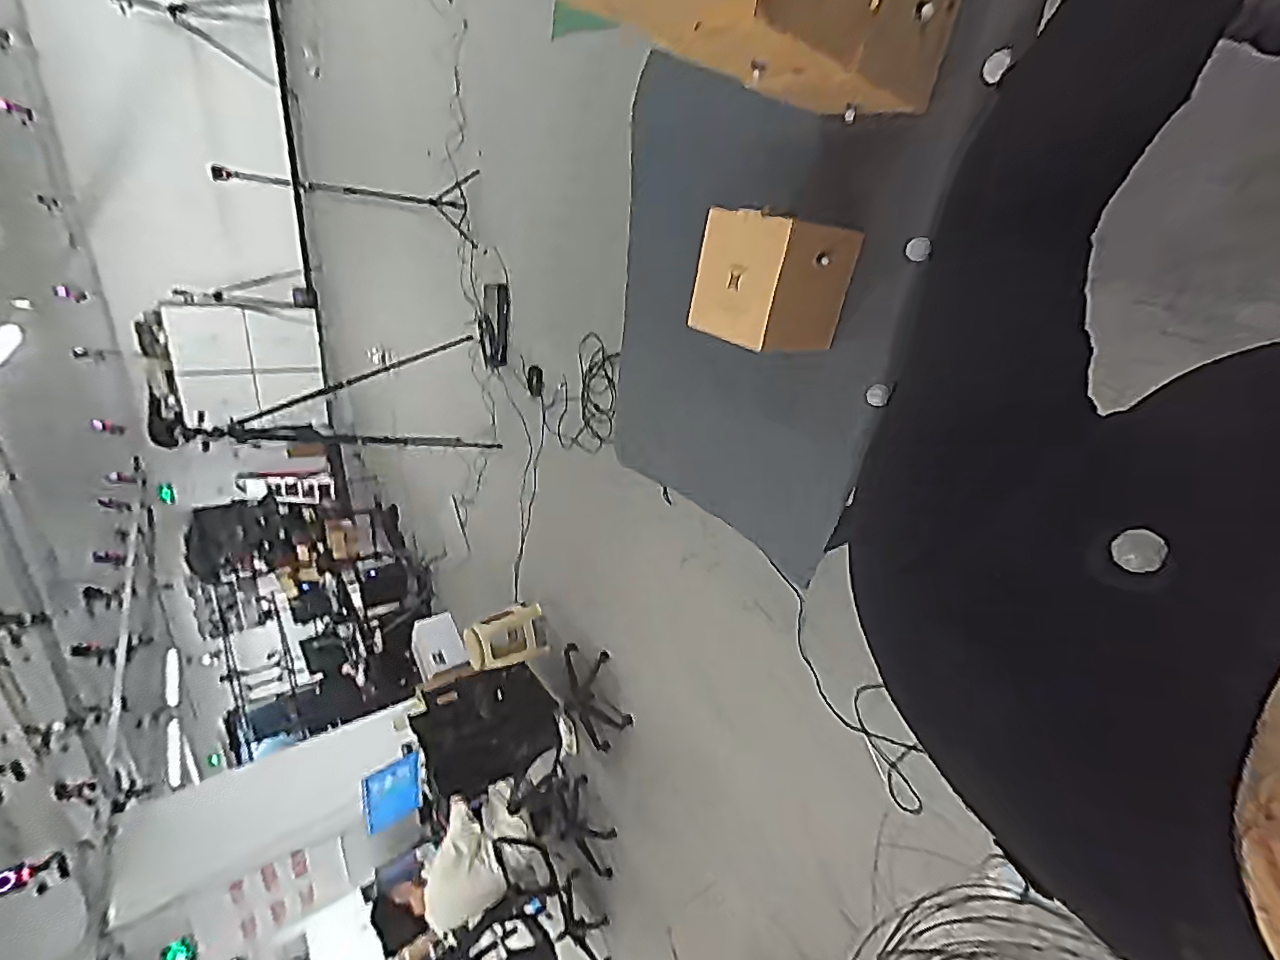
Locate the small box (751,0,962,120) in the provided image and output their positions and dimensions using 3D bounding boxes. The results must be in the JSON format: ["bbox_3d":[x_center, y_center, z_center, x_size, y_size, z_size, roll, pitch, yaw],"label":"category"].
[{"bbox_3d":[0.273,-0.566,0.677,0.179,0.176,0.168,37,128,43],"label":"small box"}]

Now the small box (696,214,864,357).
[{"bbox_3d":[0.215,-0.299,0.834,0.168,0.176,0.179,37,128,44],"label":"small box"}]

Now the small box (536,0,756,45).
[{"bbox_3d":[0.017,-0.526,0.475,0.179,0.176,0.168,25,119,49],"label":"small box"}]

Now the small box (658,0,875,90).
[{"bbox_3d":[0.144,-0.549,0.579,0.168,0.176,0.179,35,127,44],"label":"small box"}]
